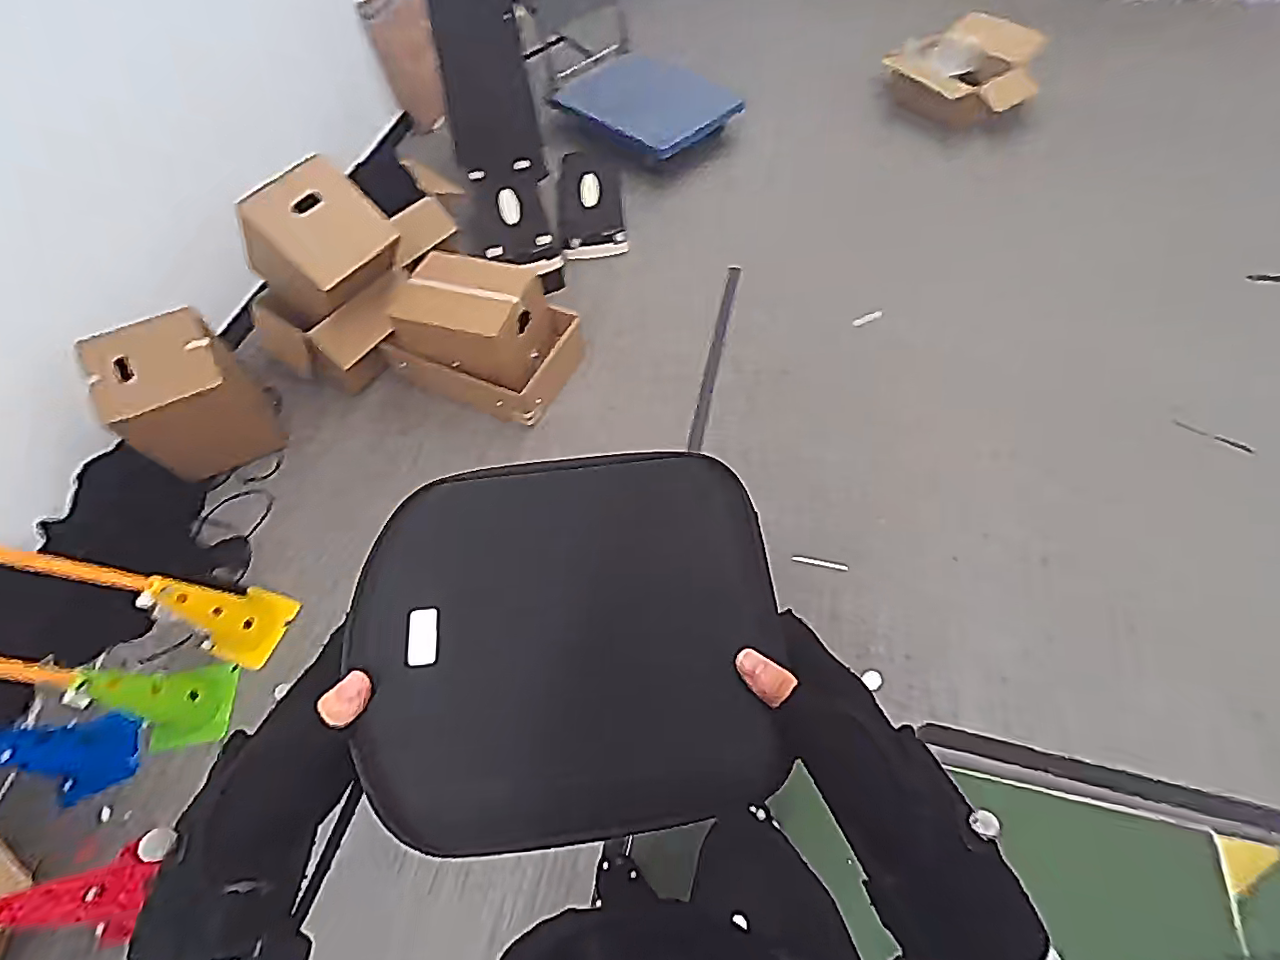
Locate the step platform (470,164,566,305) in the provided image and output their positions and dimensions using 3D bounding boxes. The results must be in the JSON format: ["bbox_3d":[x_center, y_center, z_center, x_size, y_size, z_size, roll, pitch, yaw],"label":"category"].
[{"bbox_3d":[-0.523,-1.054,2.281,0.286,0.204,0.684,-16,60,-4],"label":"step platform"}]
